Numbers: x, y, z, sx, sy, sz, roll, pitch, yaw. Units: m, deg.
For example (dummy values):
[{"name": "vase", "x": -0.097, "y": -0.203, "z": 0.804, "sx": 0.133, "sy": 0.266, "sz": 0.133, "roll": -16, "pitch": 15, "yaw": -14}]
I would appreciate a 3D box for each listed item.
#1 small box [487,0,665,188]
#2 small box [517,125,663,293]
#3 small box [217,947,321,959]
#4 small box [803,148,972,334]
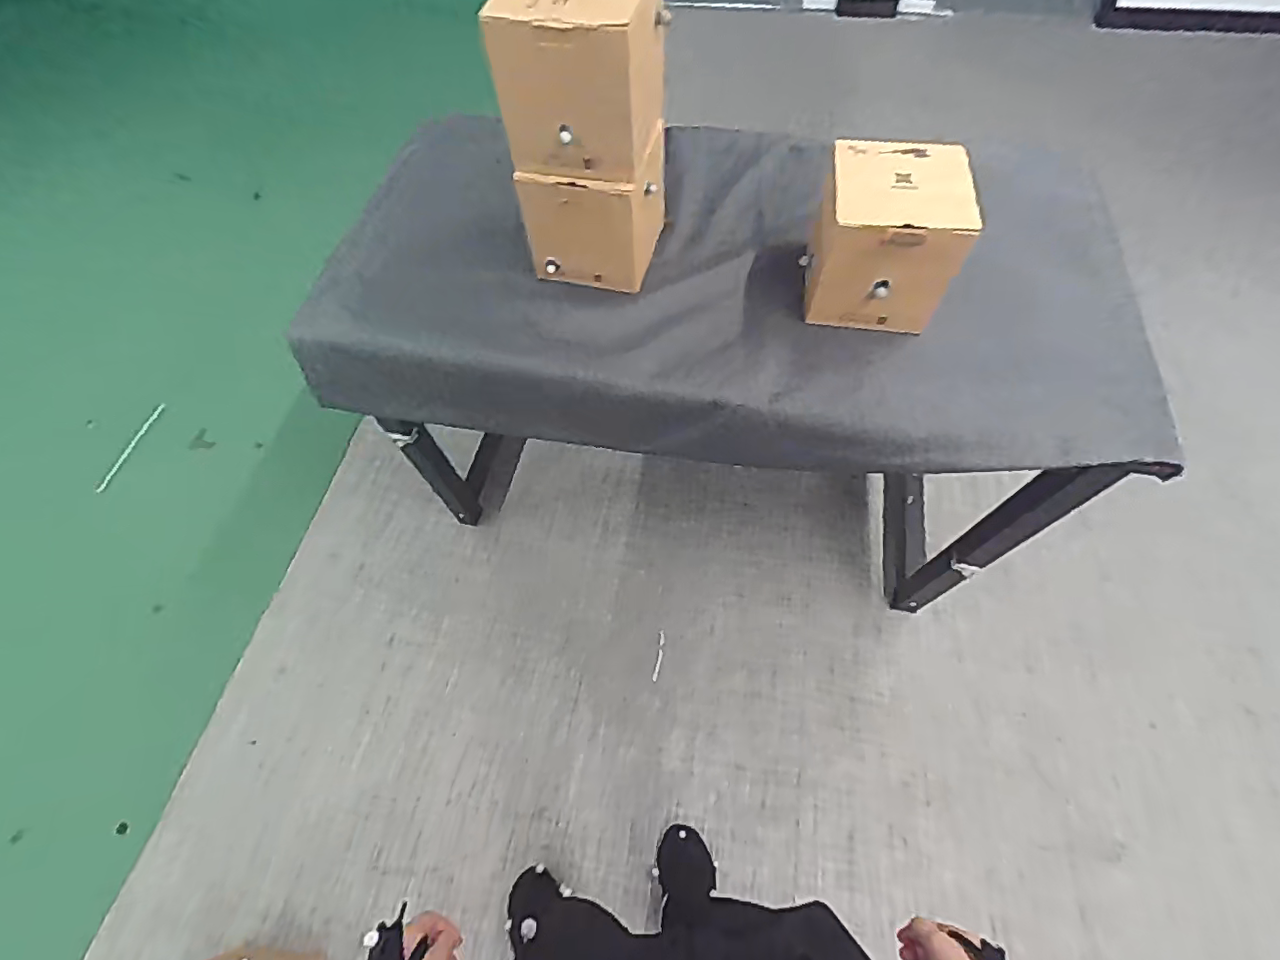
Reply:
[{"name": "small box", "x": -0.067, "y": -0.503, "z": 0.679, "sx": 0.168, "sy": 0.176, "sz": 0.179, "roll": 10, "pitch": 62, "yaw": 8}, {"name": "small box", "x": -0.062, "y": -0.410, "z": 0.816, "sx": 0.168, "sy": 0.176, "sz": 0.179, "roll": 13, "pitch": 62, "yaw": 9}, {"name": "small box", "x": -0.698, "y": 0.939, "z": 0.936, "sx": 0.179, "sy": 0.176, "sz": 0.168, "roll": 2, "pitch": 60, "yaw": 4}, {"name": "small box", "x": 0.330, "y": -0.327, "z": 0.754, "sx": 0.168, "sy": 0.176, "sz": 0.179, "roll": 7, "pitch": 62, "yaw": 6}]
